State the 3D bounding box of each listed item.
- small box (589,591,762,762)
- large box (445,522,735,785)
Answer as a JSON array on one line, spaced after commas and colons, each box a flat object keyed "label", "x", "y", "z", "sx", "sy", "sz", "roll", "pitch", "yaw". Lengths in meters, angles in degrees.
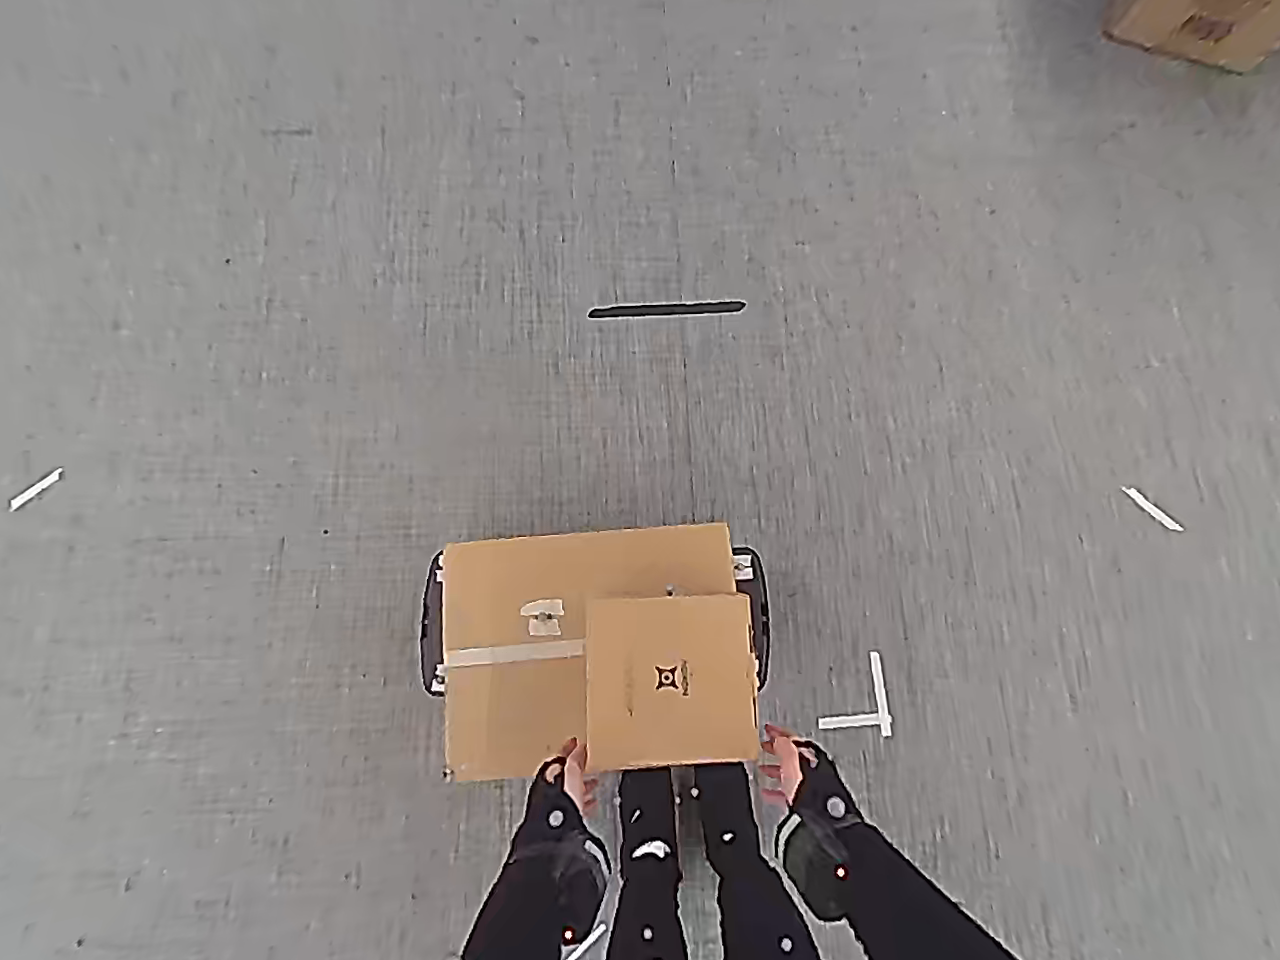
[{"label": "small box", "x": 0.034, "y": 0.215, "z": 0.630, "sx": 0.179, "sy": 0.176, "sz": 0.168, "roll": -1, "pitch": 79, "yaw": 0}, {"label": "large box", "x": -0.058, "y": 0.256, "z": 0.872, "sx": 0.408, "sy": 0.320, "sz": 0.320, "roll": -5, "pitch": 77, "yaw": 0}]
